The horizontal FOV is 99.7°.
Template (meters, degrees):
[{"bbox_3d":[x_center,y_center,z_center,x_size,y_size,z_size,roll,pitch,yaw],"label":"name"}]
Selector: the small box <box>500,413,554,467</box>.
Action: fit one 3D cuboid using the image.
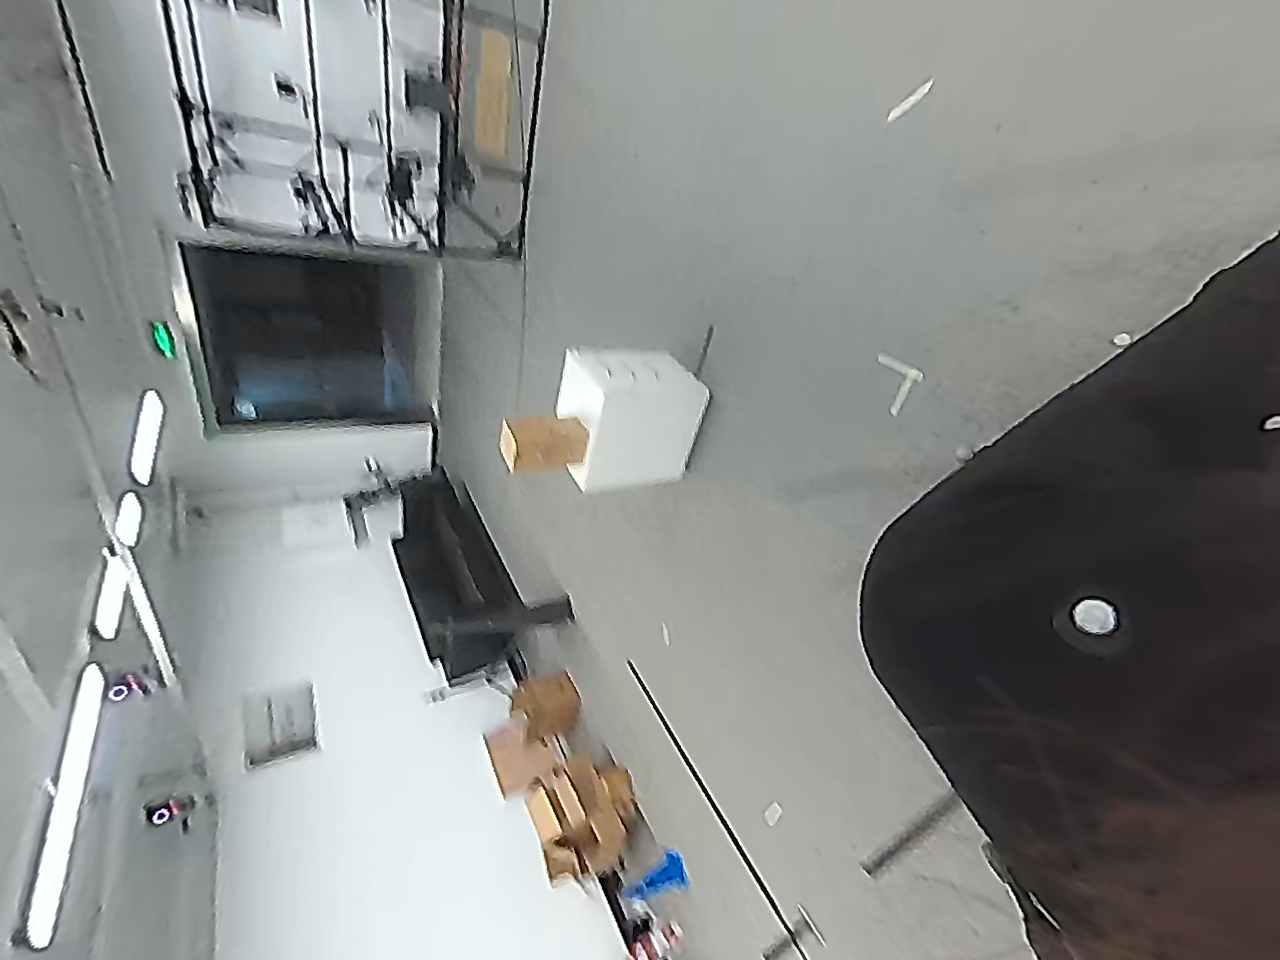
[{"bbox_3d":[-0.487,-0.174,2.322,0.179,0.176,0.168,54,140,38],"label":"small box"}]
